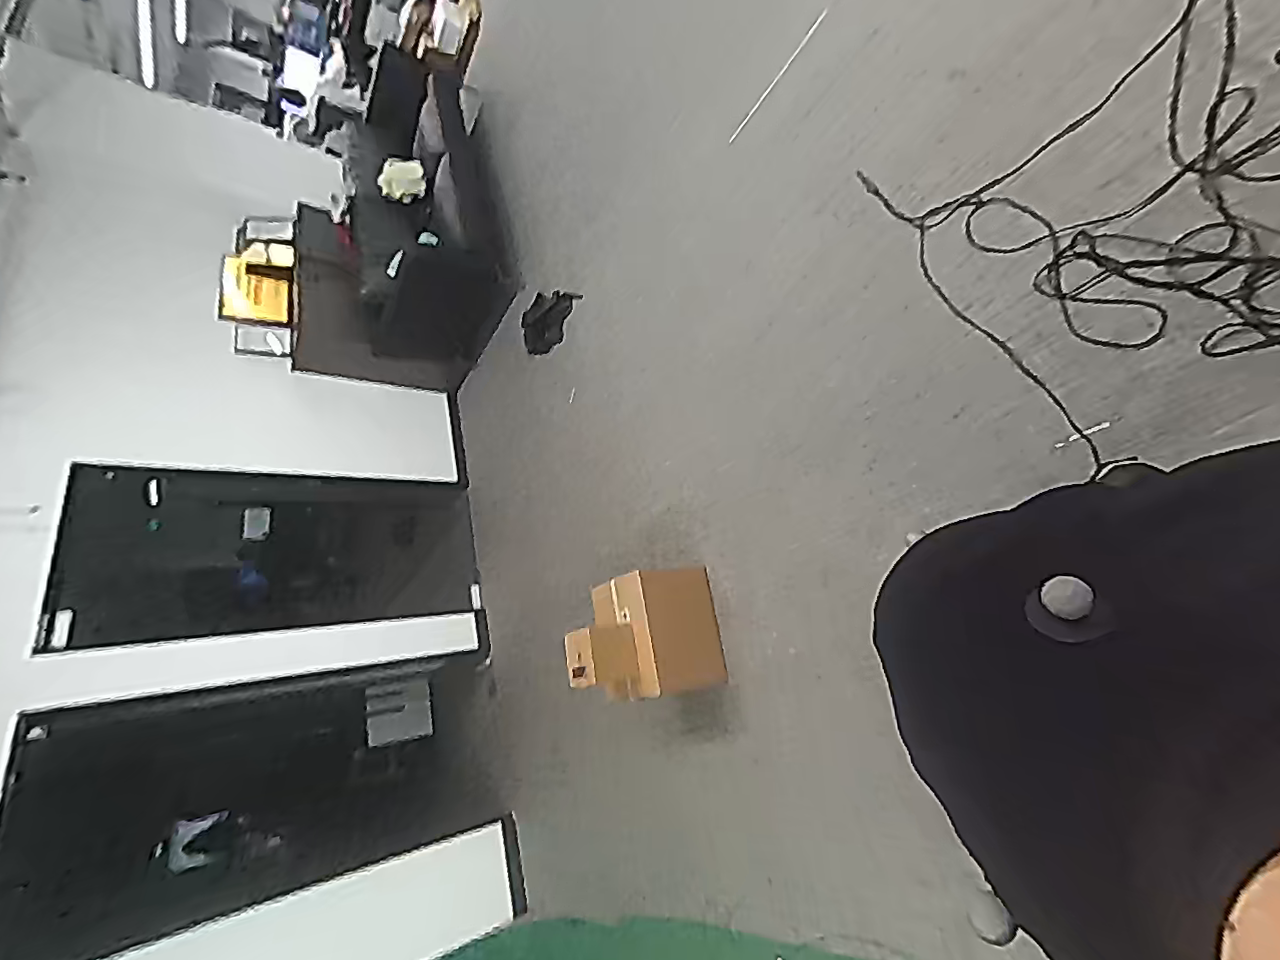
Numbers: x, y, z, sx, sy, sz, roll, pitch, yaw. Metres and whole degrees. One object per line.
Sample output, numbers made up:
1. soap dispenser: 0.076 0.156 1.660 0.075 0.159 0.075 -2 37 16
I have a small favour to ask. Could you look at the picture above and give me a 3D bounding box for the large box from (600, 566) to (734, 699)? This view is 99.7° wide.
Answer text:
1. large box: 0.089 0.542 1.938 0.320 0.320 0.408 -32 61 47
